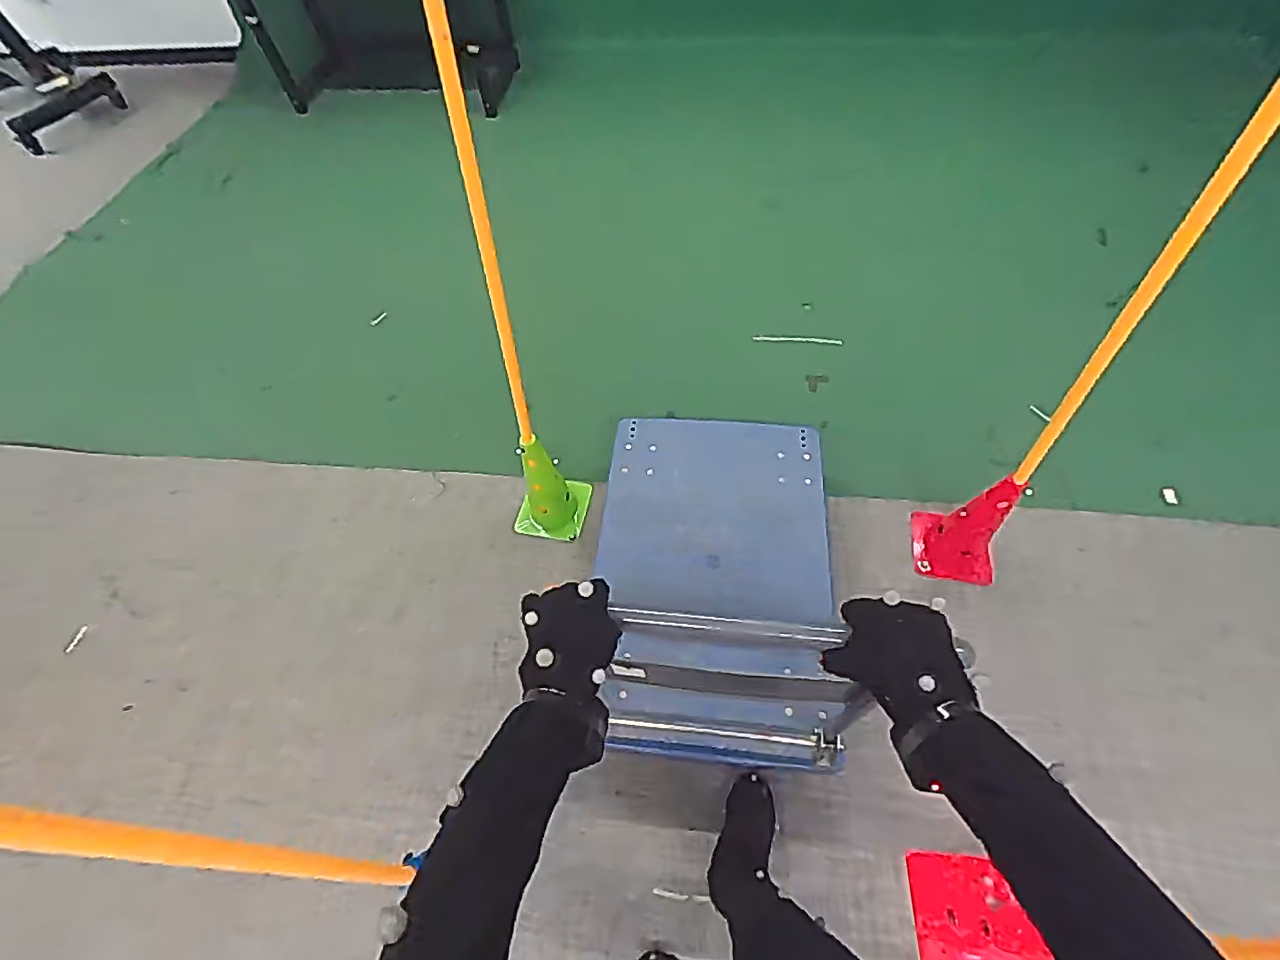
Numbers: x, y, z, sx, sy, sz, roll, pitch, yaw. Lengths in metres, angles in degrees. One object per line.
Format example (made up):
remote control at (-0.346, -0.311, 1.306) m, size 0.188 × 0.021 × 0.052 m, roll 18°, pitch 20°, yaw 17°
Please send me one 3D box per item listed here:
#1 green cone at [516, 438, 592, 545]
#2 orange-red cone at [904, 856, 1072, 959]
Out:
green cone at (-0.271, 0.006, 1.501) m, size 0.202 × 0.368 × 0.200 m, roll 7°, pitch 58°, yaw 9°
orange-red cone at (0.631, 0.793, 0.946) m, size 0.199 × 0.360 × 0.198 m, roll 2°, pitch 57°, yaw 7°
